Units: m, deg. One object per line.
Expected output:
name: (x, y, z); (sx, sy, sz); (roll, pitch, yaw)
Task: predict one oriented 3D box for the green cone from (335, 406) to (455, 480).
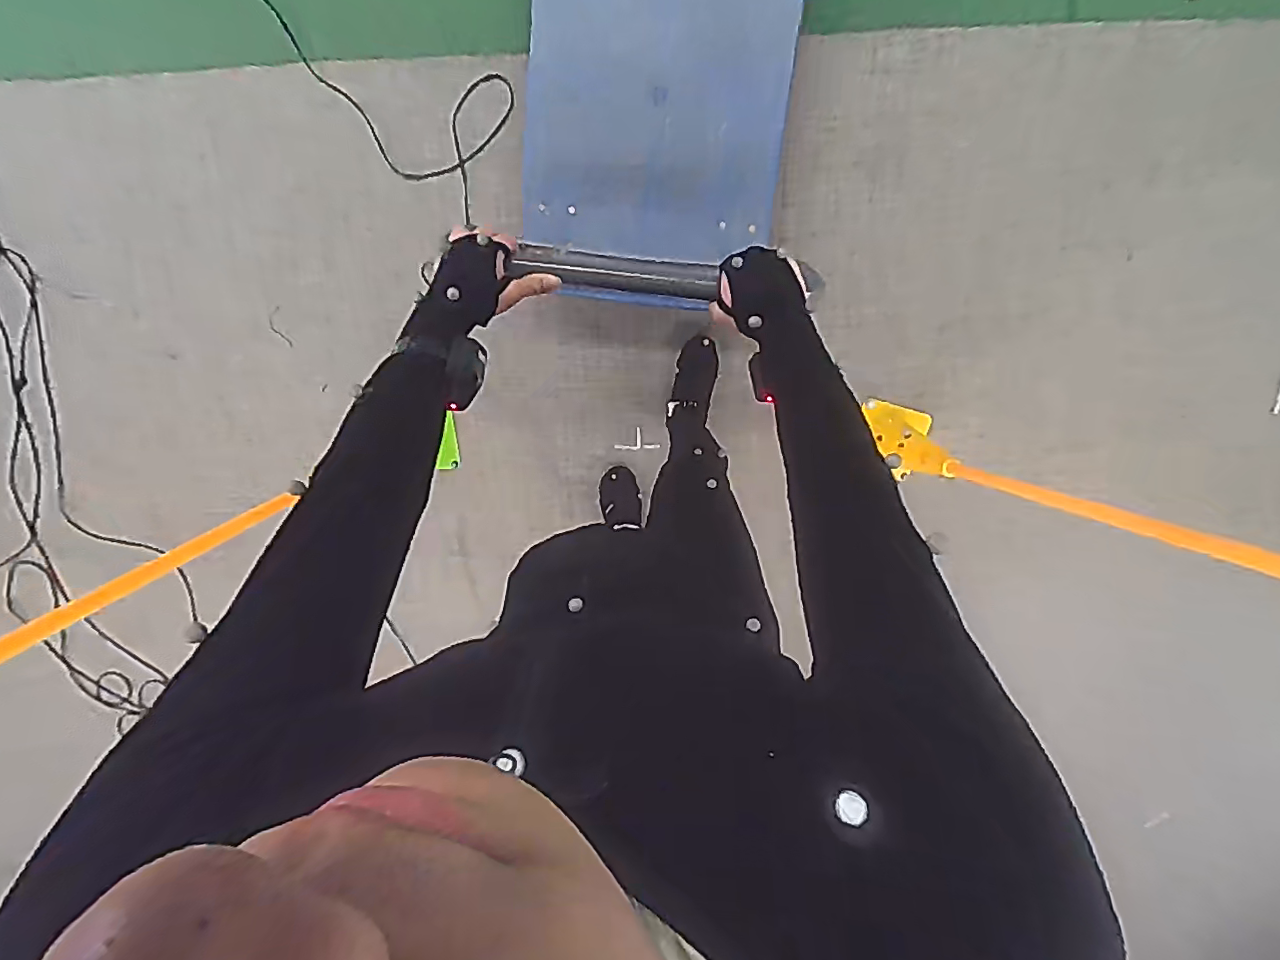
green cone: (-0.653, -0.068, 1.389); (0.202, 0.368, 0.200); (-4, 104, 5)
